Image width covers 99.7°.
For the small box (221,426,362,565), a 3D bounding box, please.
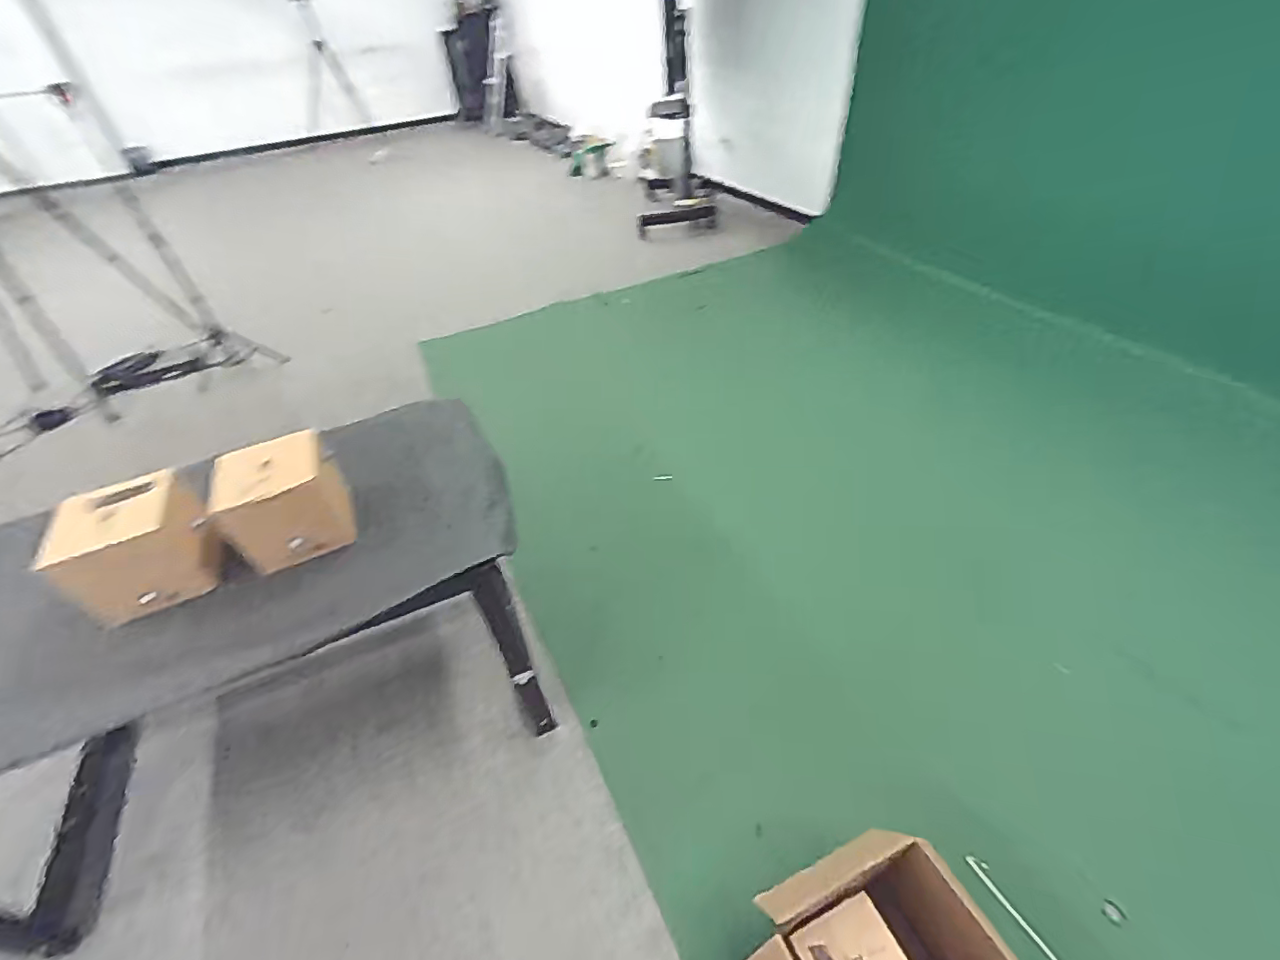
[{"bbox_3d":[-0.654,0.029,1.033,0.168,0.176,0.179,-21,45,-16],"label":"small box"}]
